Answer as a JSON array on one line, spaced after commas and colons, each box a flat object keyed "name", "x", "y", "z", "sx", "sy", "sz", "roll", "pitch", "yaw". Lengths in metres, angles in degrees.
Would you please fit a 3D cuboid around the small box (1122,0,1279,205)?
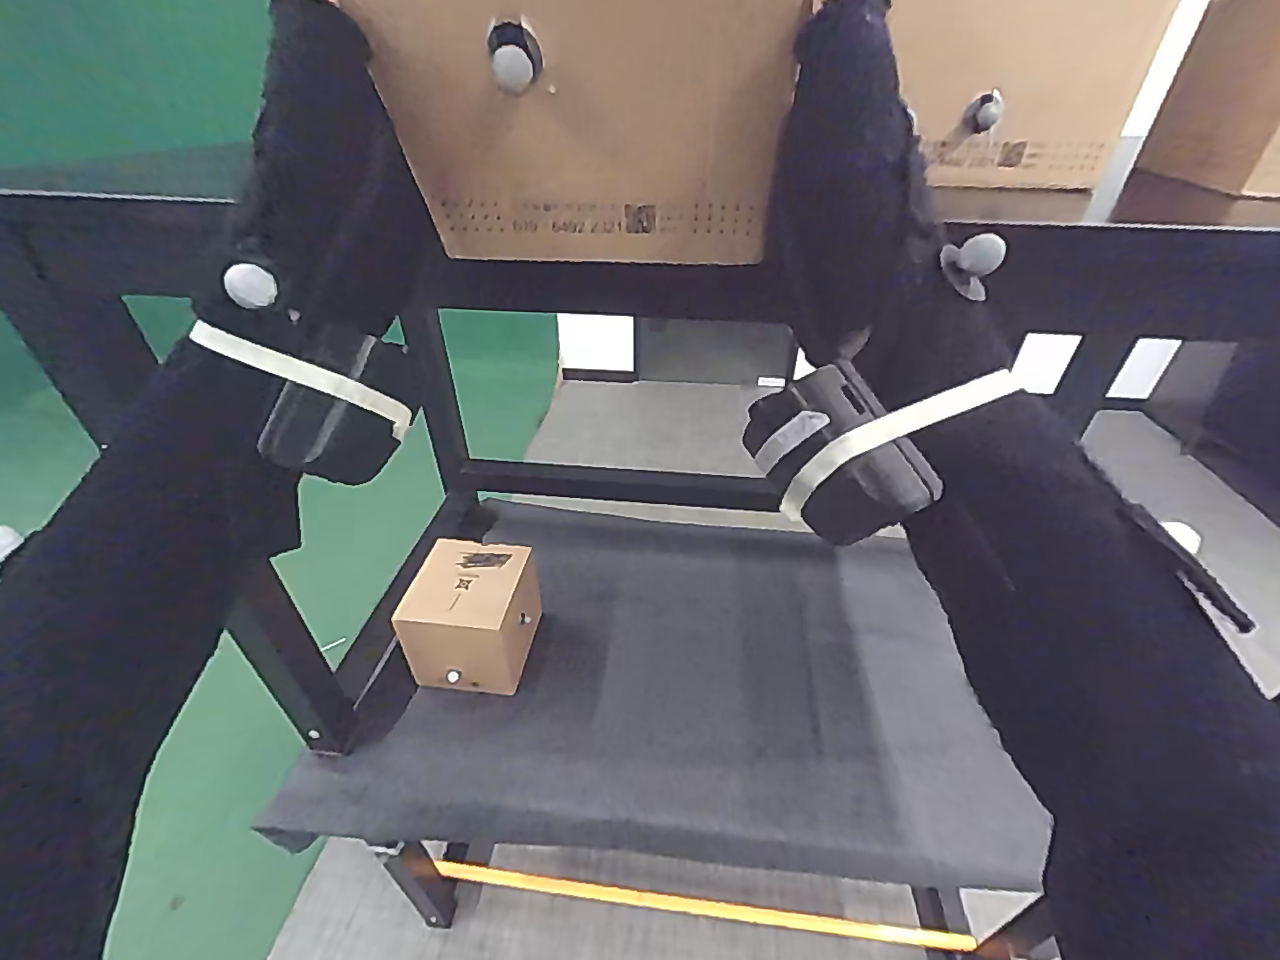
[{"name": "small box", "x": 0.477, "y": -0.276, "z": 0.353, "sx": 0.168, "sy": 0.176, "sz": 0.179, "roll": 11, "pitch": 37, "yaw": 14}]

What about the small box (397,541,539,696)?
[{"name": "small box", "x": -0.271, "y": 0.226, "z": 0.899, "sx": 0.168, "sy": 0.176, "sz": 0.179, "roll": 4, "pitch": 36, "yaw": 5}]
